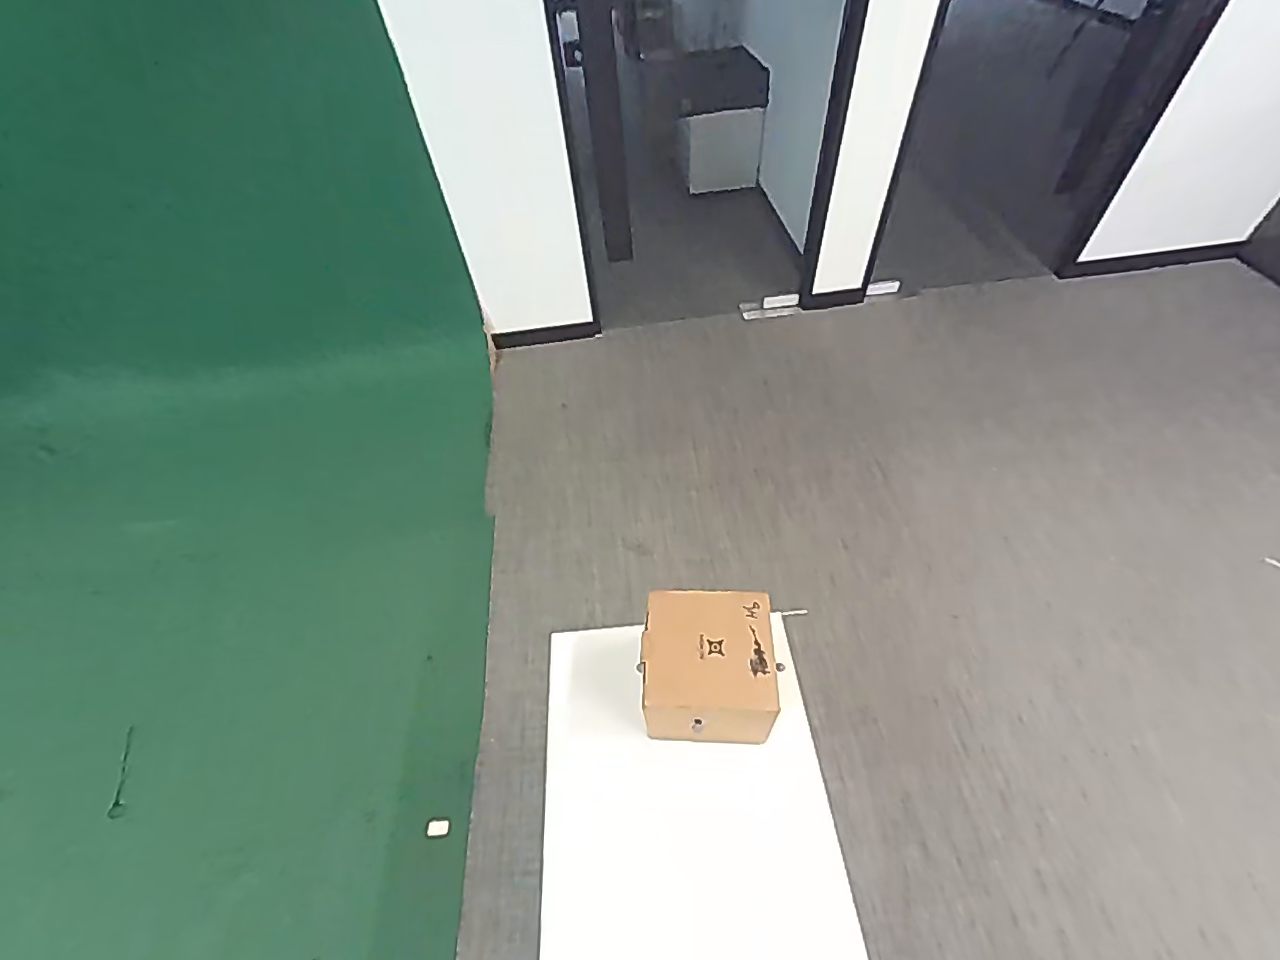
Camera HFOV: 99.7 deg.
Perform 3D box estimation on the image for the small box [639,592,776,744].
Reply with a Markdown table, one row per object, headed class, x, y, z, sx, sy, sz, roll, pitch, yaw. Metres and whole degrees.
| class | x | y | z | sx | sy | sz | roll | pitch | yaw |
| --- | --- | --- | --- | --- | --- | --- | --- | --- | --- |
| small box | 0.097 | 0.278 | 0.791 | 0.179 | 0.176 | 0.168 | 0 | 51 | 5 |
